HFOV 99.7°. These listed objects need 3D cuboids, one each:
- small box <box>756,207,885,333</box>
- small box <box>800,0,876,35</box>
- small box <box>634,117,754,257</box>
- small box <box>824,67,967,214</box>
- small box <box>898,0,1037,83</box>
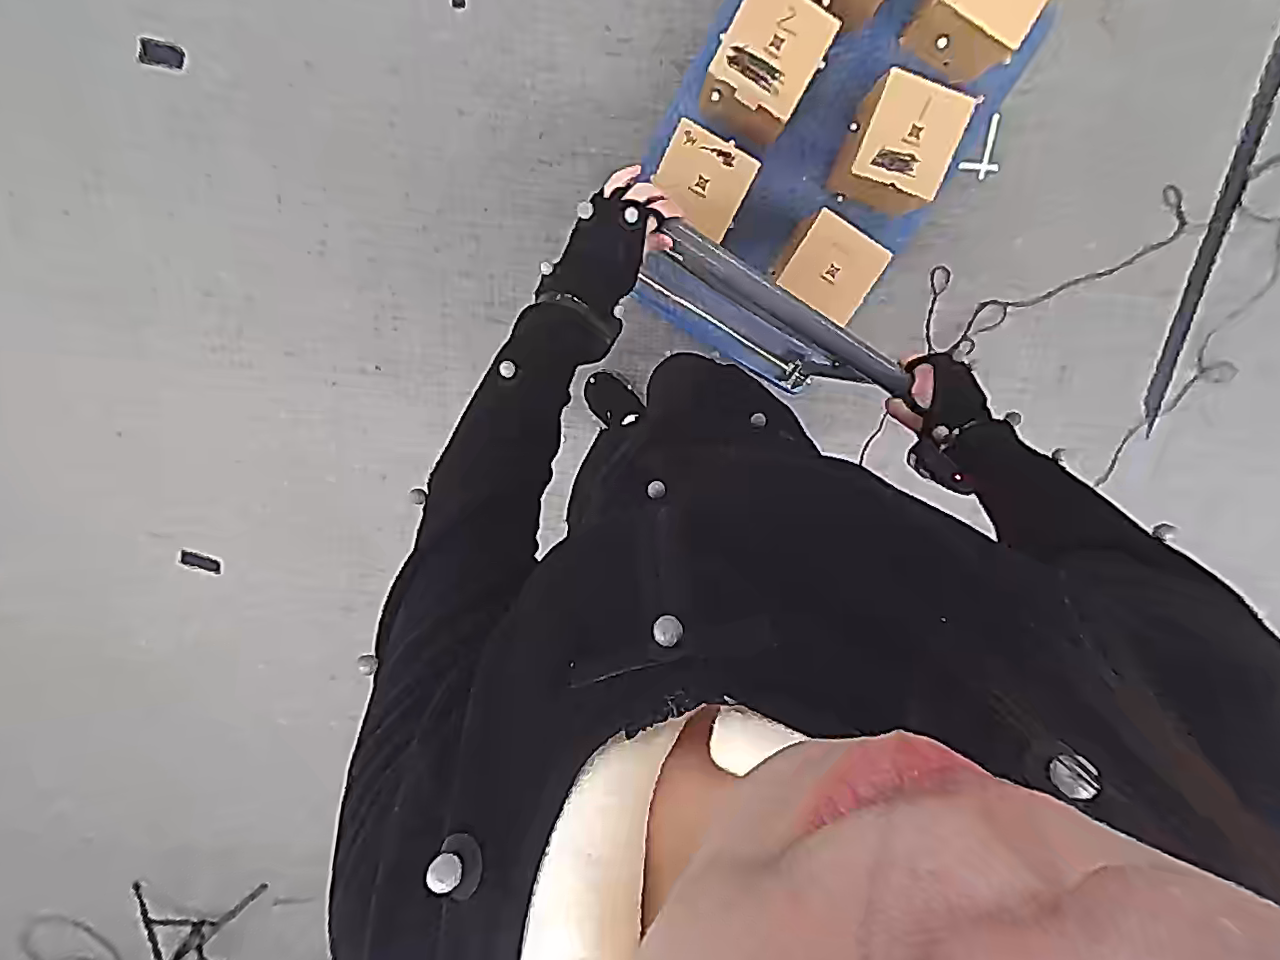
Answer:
[{"bbox_3d":[0.359,-0.425,1.121,0.168,0.176,0.179,30,104,-9],"label":"small box"},{"bbox_3d":[0.386,-0.958,0.956,0.168,0.176,0.179,32,105,-9],"label":"small box"},{"bbox_3d":[0.100,-0.567,1.077,0.168,0.176,0.179,26,106,-8],"label":"small box"},{"bbox_3d":[0.479,-0.643,1.052,0.168,0.176,0.179,18,106,-5],"label":"small box"},{"bbox_3d":[0.604,-0.875,0.982,0.168,0.176,0.179,27,105,-7],"label":"small box"}]
